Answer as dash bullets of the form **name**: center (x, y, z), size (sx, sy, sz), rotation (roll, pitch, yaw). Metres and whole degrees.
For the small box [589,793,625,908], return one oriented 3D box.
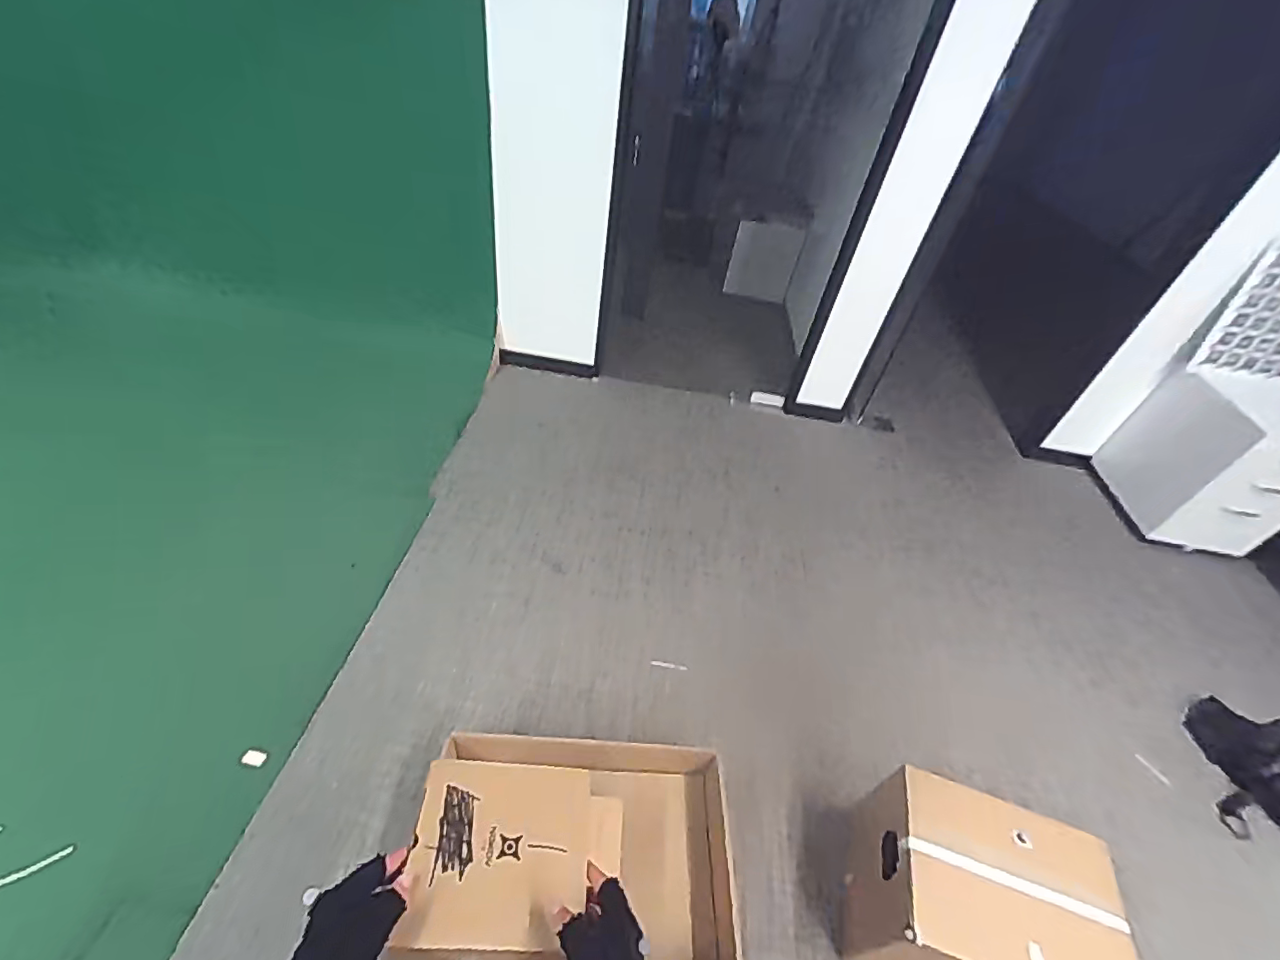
- **small box**: center (-0.131, 0.761, 1.112), size (0.179, 0.176, 0.168), rotation (8, 43, -6)

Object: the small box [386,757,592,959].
- **small box**: center (-0.151, 0.423, 0.574), size (0.179, 0.176, 0.168), rotation (9, 32, -9)
